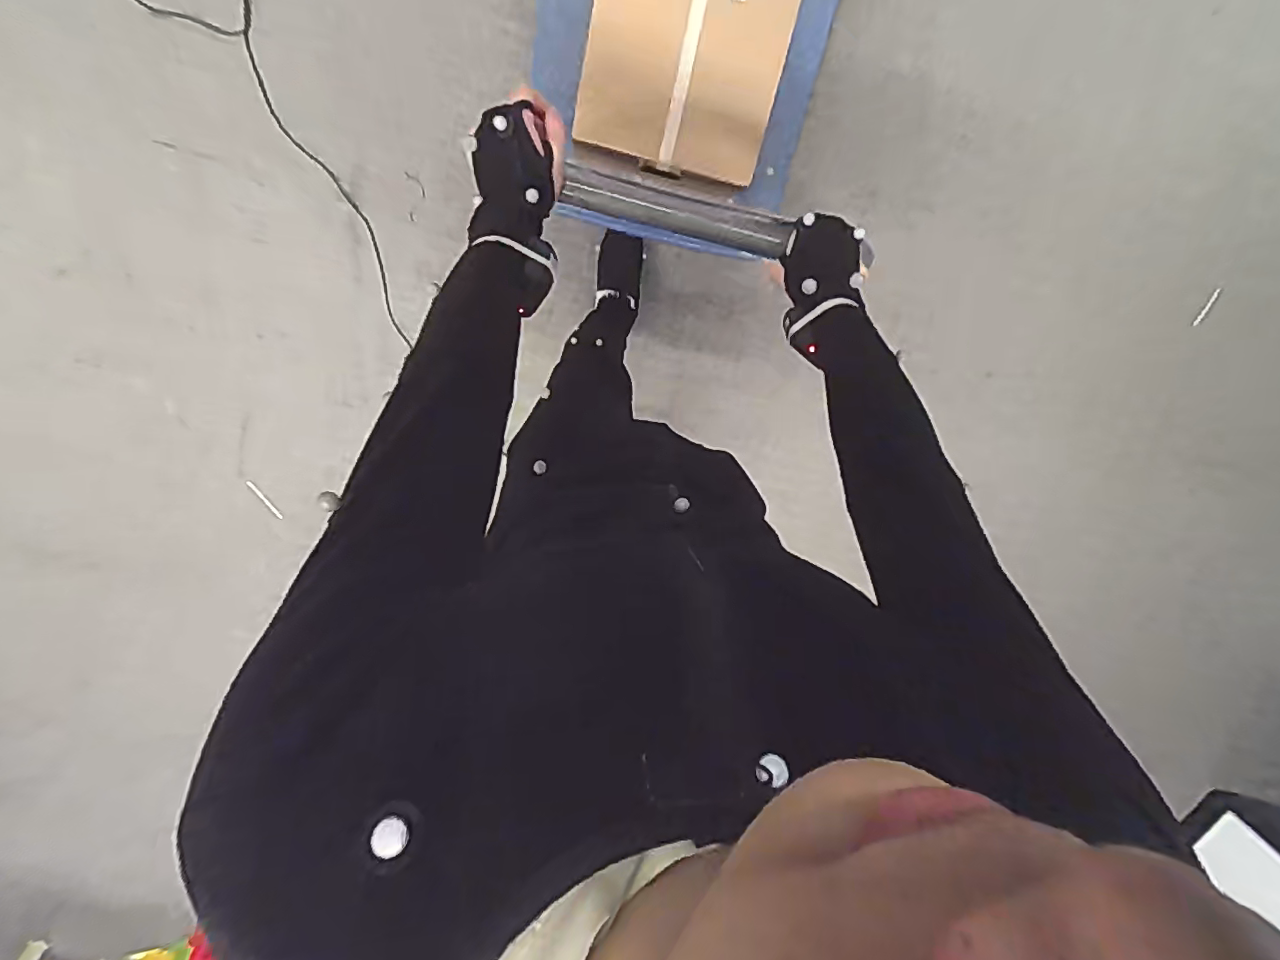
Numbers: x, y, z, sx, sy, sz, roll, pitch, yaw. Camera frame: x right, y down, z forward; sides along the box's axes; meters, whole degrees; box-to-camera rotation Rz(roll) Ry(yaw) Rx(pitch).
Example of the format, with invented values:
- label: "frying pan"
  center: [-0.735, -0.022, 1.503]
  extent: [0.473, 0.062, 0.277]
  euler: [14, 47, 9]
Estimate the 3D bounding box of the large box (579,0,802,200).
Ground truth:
- label: "large box"
  center: [0.084, -0.773, 0.977]
  extent: [0.320, 0.320, 0.408]
  euler: [11, 110, -7]
